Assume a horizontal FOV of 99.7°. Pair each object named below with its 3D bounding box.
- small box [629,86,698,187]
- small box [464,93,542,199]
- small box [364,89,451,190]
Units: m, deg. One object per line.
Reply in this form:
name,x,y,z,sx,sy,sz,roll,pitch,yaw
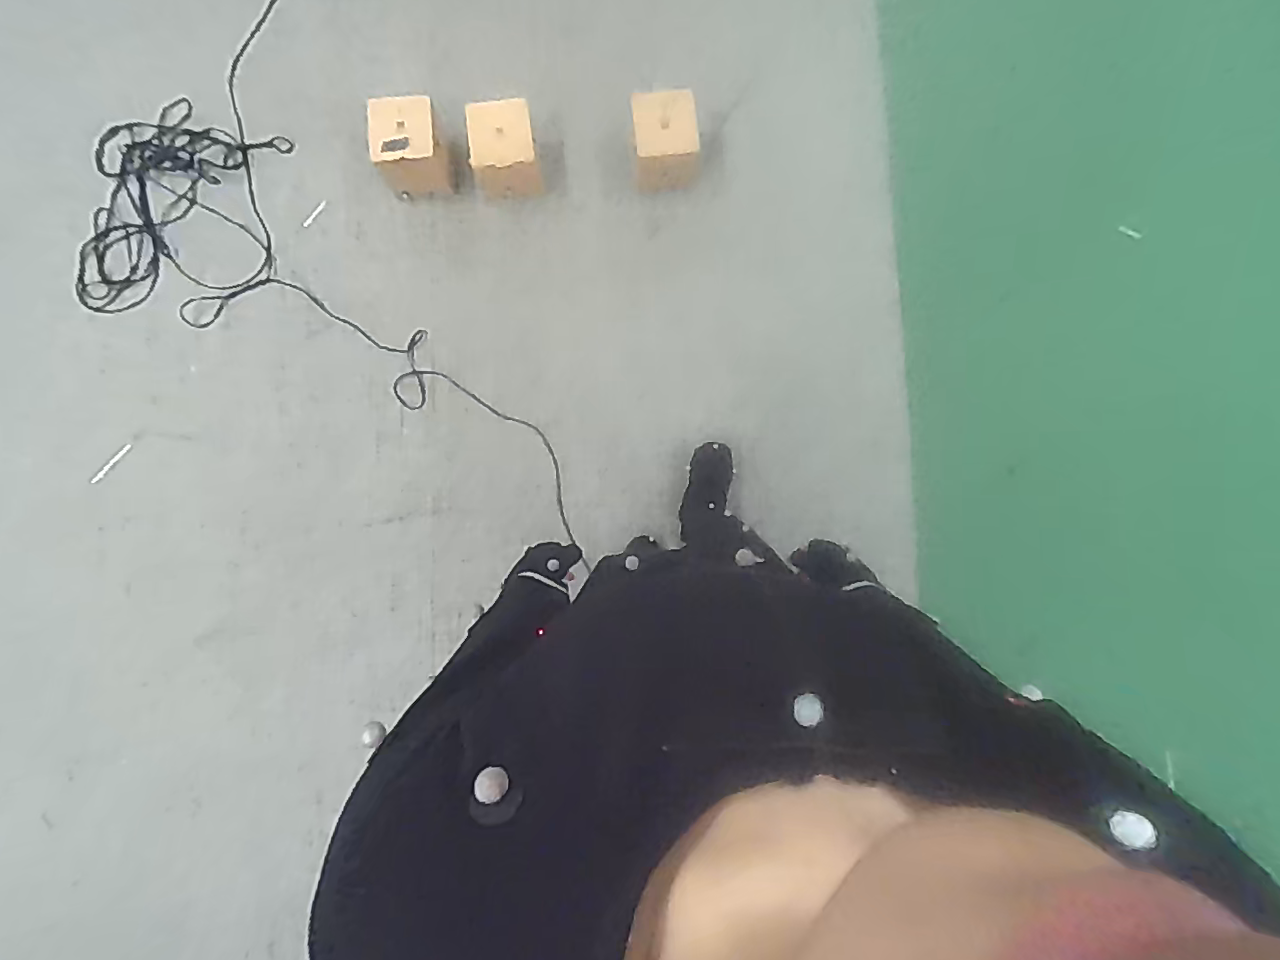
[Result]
small box,0.060,-0.926,1.477,0.168,0.176,0.179,-7,87,-3
small box,-0.366,-0.900,1.466,0.168,0.176,0.179,-8,87,-1
small box,-0.621,-0.908,1.460,0.168,0.176,0.179,-5,86,-2
